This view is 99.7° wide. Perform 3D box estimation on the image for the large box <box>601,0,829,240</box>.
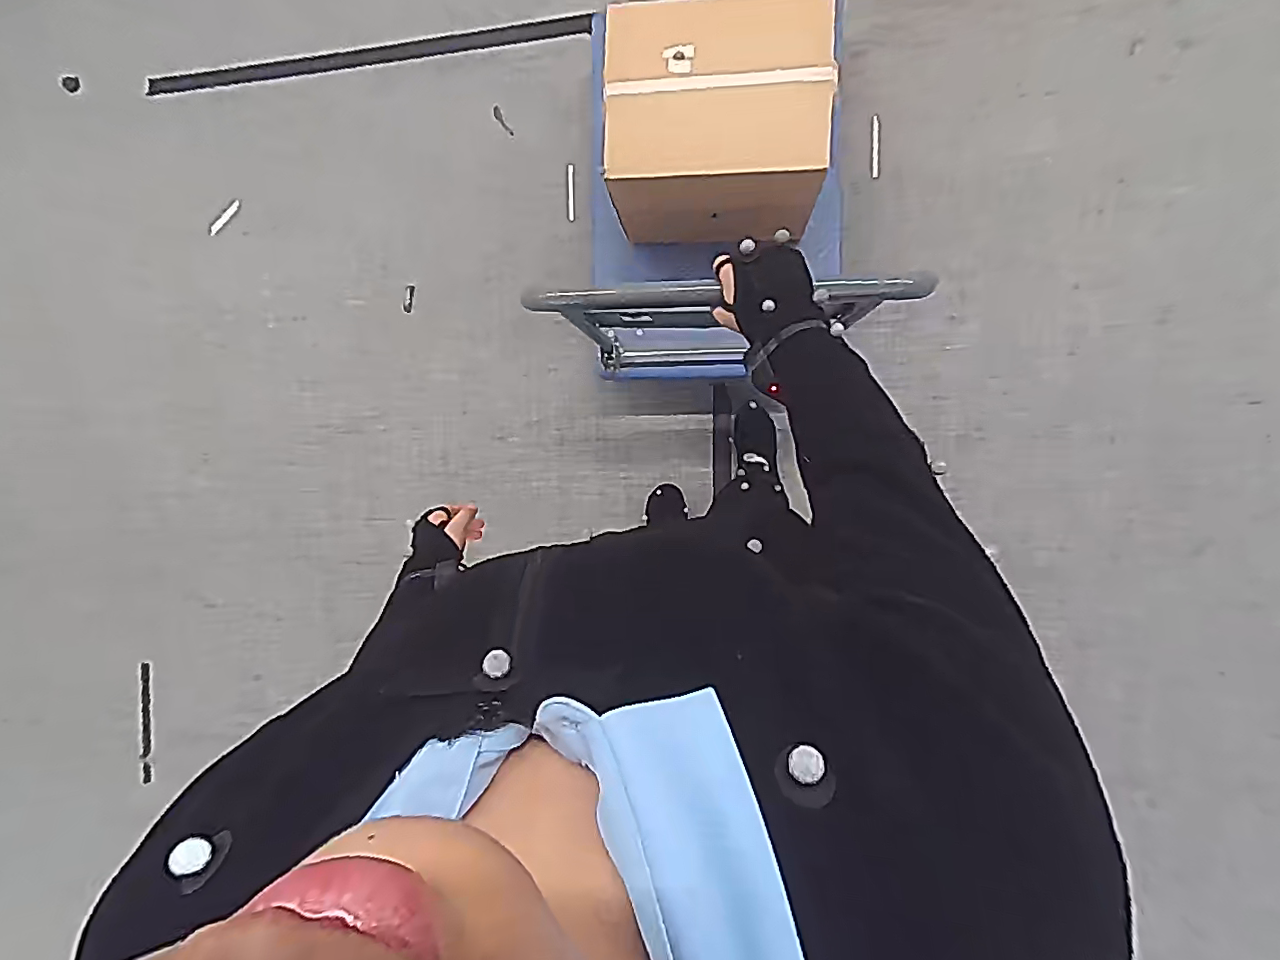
[{"bbox_3d":[0.151,-0.708,1.100,0.408,0.320,0.320,2,91,9],"label":"large box"}]
